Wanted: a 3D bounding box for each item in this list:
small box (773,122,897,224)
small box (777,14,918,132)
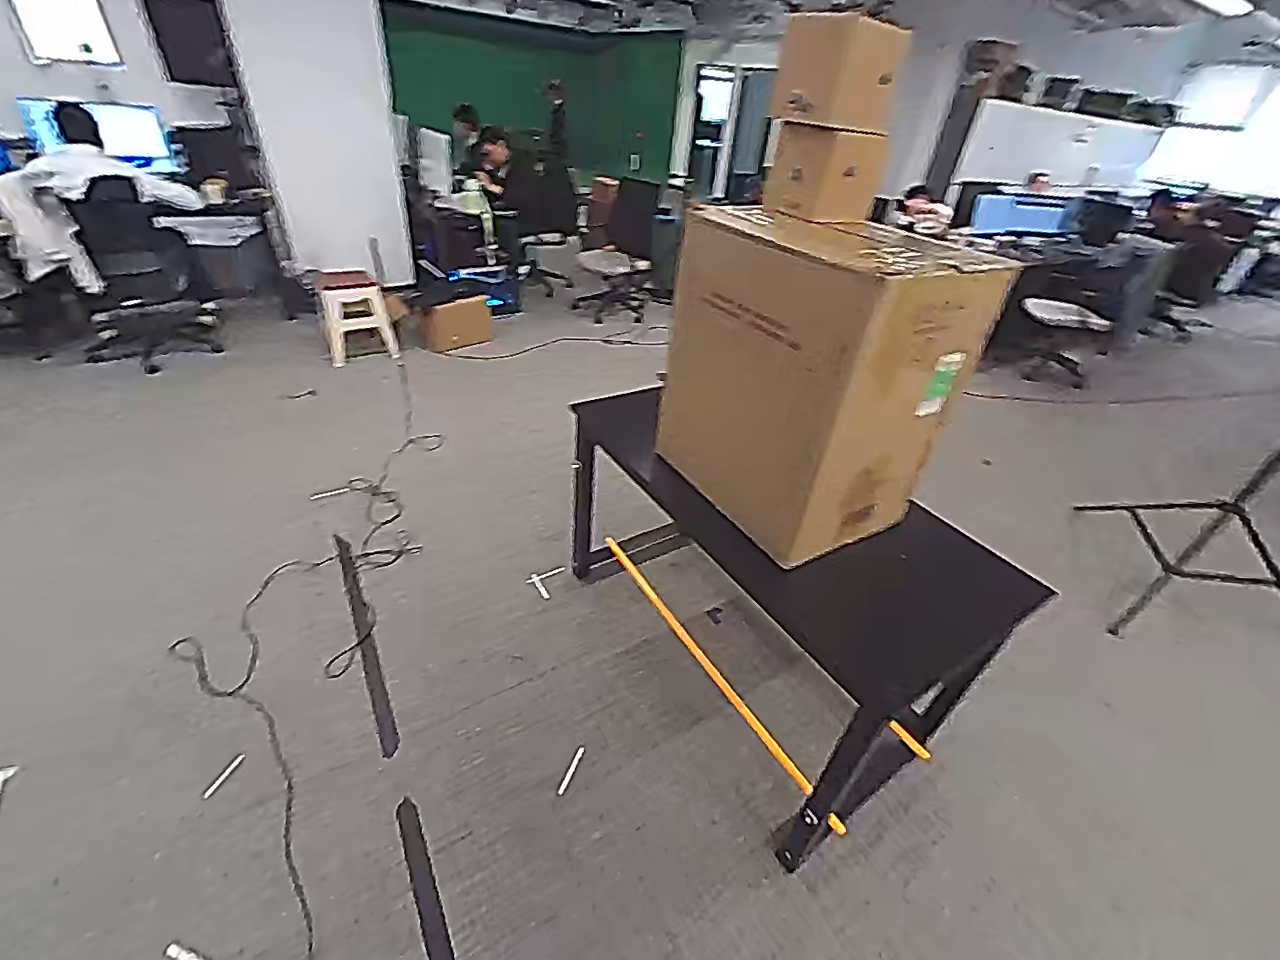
[{"bbox_3d":[0.407,-0.658,1.163,0.179,0.176,0.168,-16,42,-29],"label":"small box"},{"bbox_3d":[0.394,-0.784,1.054,0.179,0.176,0.168,-18,42,-31],"label":"small box"}]
